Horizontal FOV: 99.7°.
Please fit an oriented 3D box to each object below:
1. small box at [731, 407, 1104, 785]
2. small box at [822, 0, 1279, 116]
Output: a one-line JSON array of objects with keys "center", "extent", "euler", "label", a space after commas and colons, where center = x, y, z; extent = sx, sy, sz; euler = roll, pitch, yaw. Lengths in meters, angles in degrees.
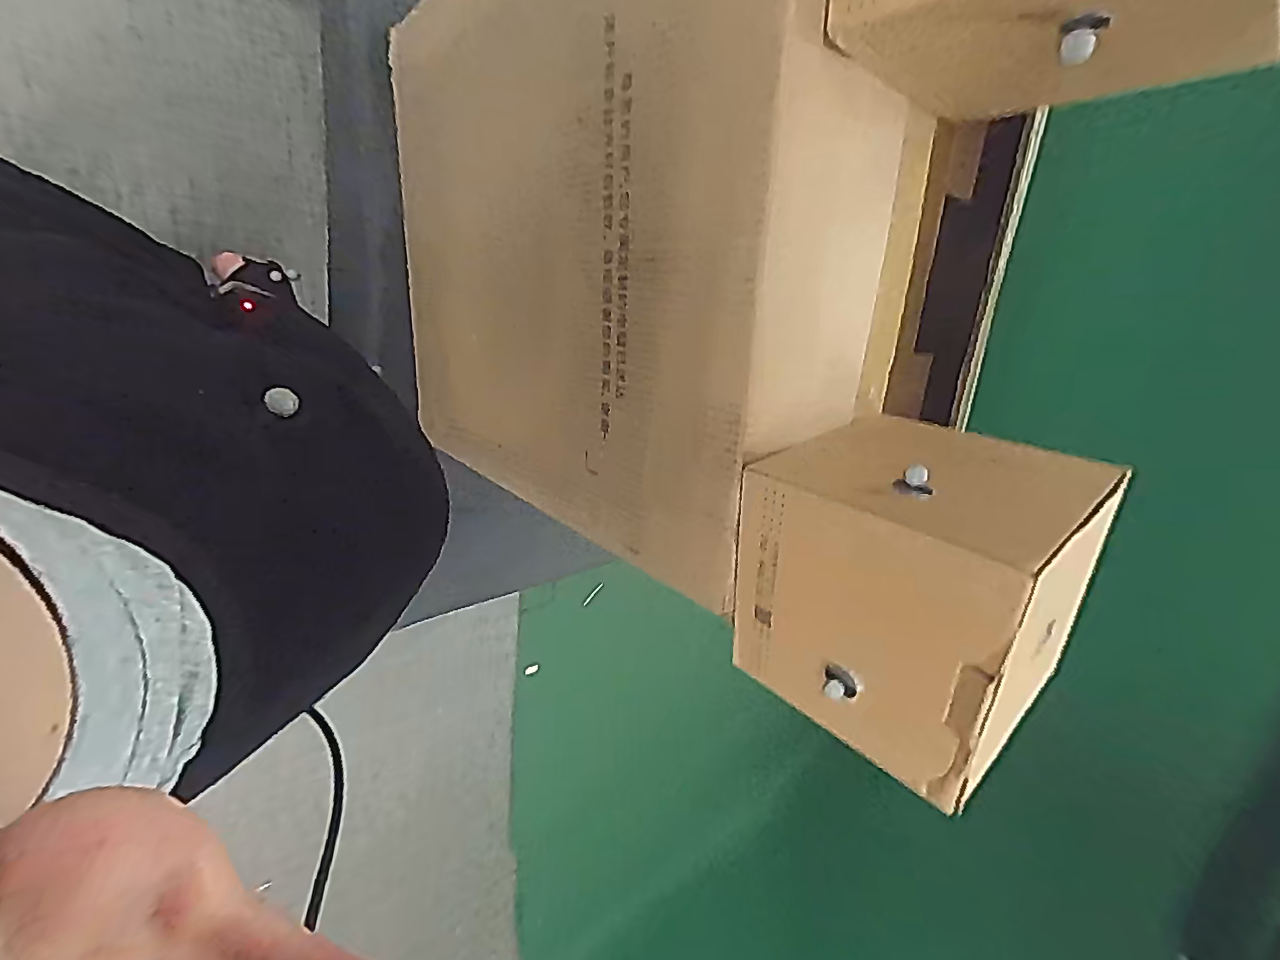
[{"center": [0.182, 0.058, 0.387], "extent": [0.179, 0.176, 0.168], "euler": [-22, 123, -36], "label": "small box"}, {"center": [0.215, -0.308, 0.269], "extent": [0.179, 0.176, 0.168], "euler": [-12, 114, -39], "label": "small box"}]
